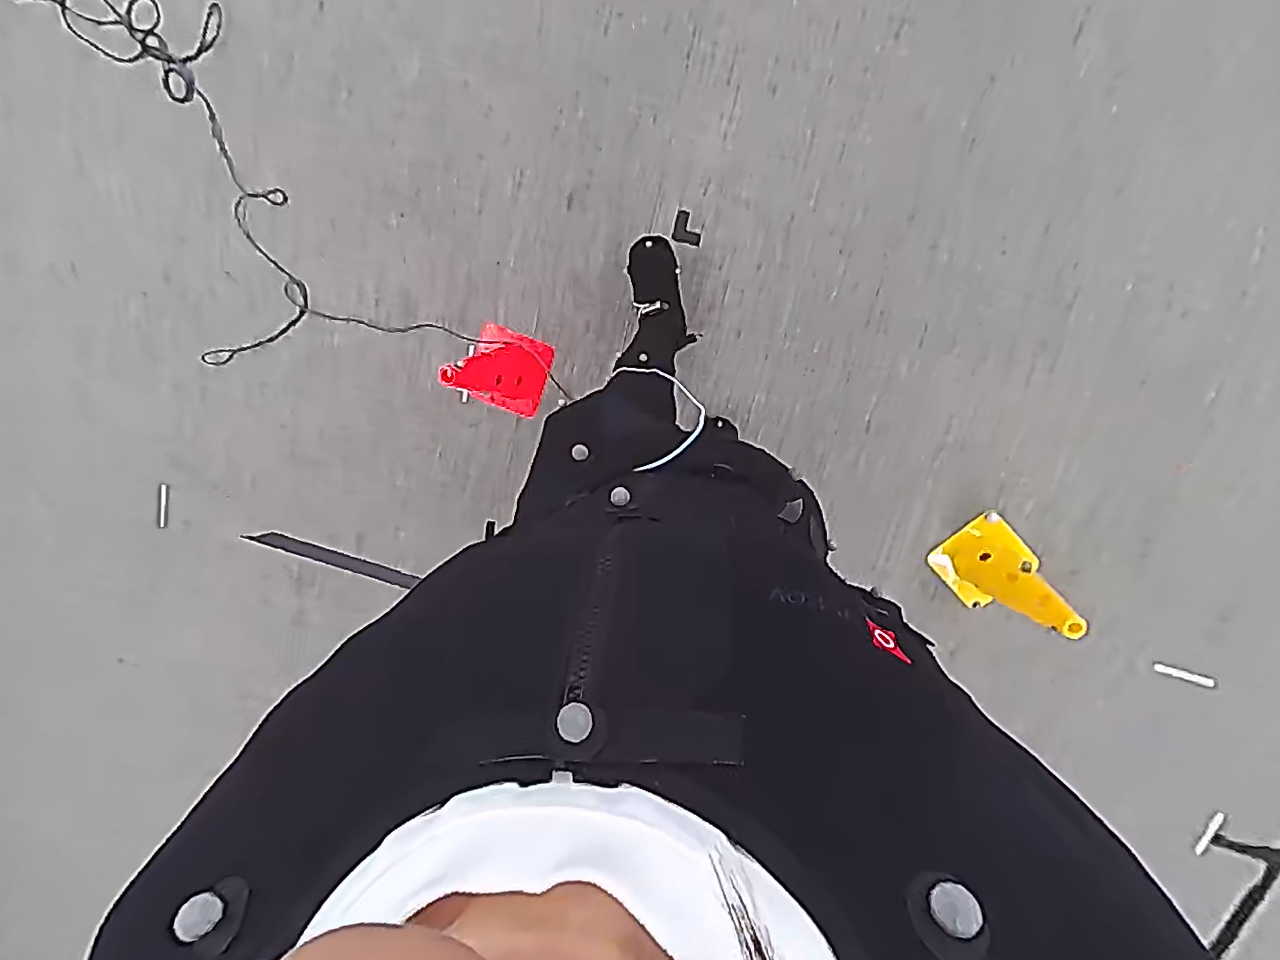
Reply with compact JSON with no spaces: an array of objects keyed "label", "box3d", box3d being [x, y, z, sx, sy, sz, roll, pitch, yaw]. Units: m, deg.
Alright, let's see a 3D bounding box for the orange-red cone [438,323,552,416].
[{"label":"orange-red cone","box3d":[-0.361,-0.245,1.239,0.199,0.360,0.198,23,105,0]}]
